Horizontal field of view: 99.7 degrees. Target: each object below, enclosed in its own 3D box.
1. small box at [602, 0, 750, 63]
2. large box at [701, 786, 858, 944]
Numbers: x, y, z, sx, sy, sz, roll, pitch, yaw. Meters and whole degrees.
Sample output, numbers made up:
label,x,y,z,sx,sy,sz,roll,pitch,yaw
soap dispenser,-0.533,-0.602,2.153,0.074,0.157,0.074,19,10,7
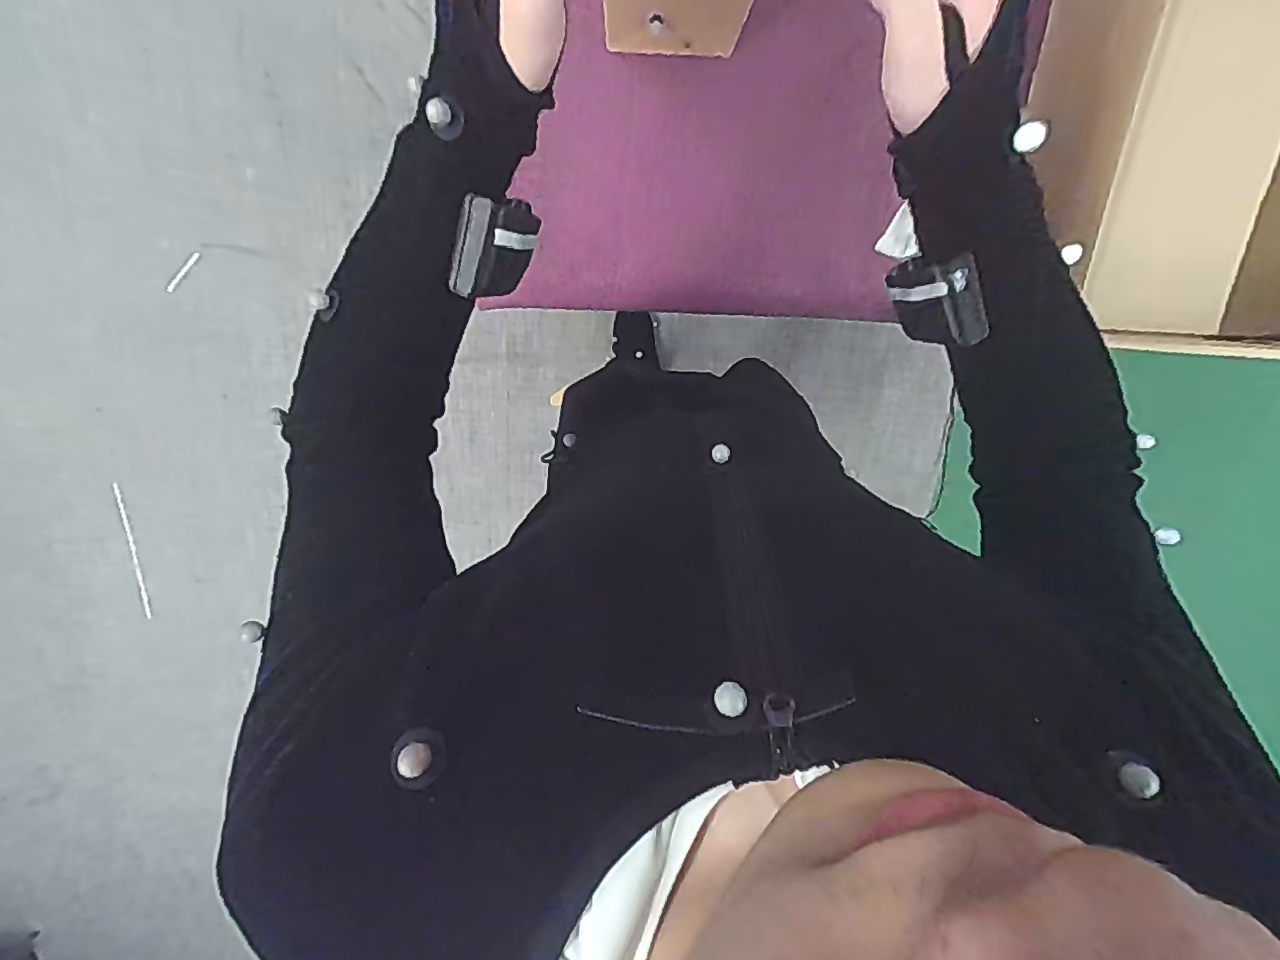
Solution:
label,x,y,z,sx,sy,sz,roll,pitch,yaw
small box,0.043,-0.617,0.623,0.168,0.176,0.179,1,106,-1
large box,0.478,1.392,1.927,0.408,0.320,0.320,-29,106,6
